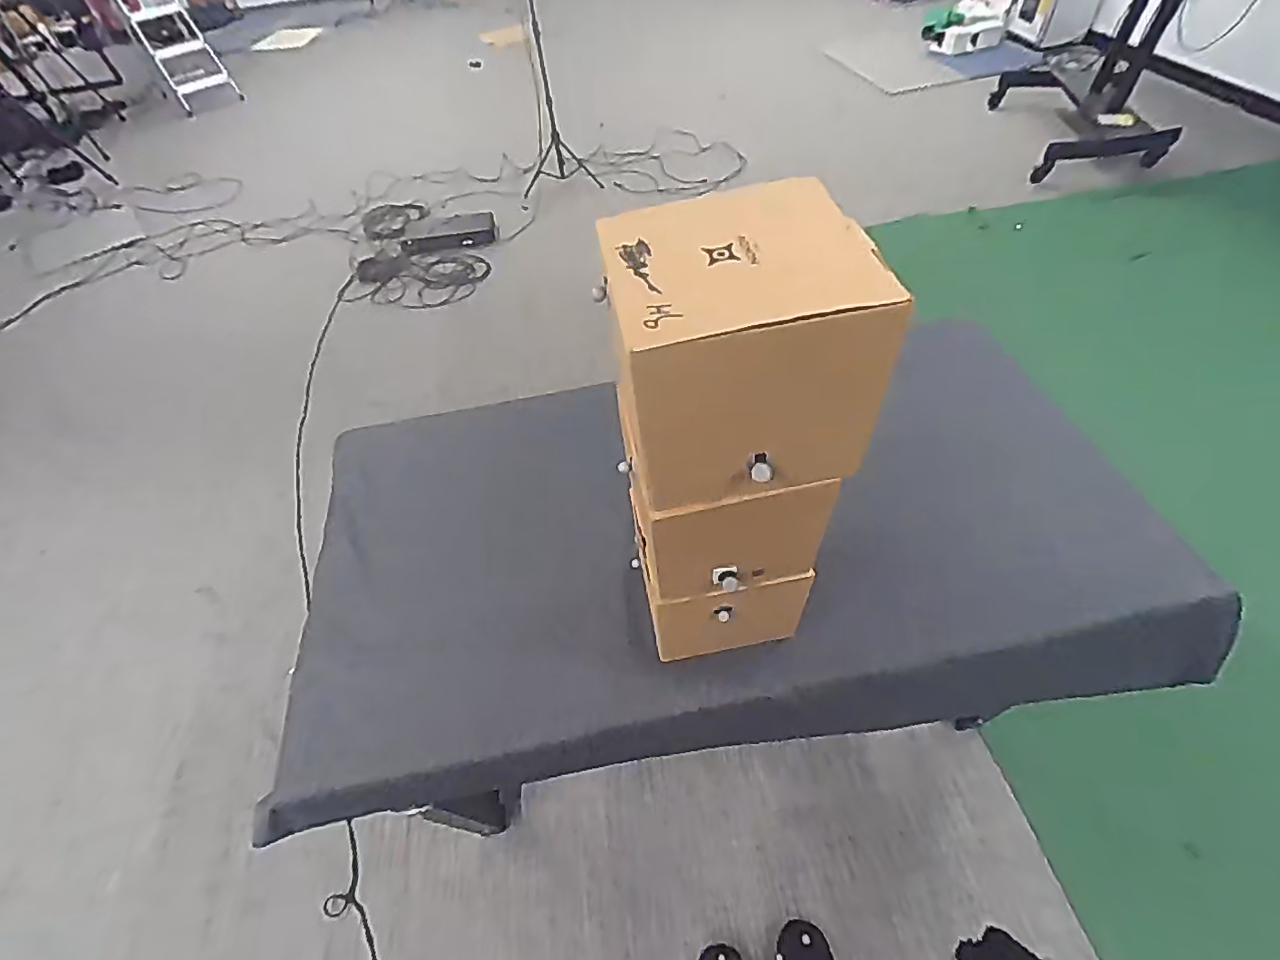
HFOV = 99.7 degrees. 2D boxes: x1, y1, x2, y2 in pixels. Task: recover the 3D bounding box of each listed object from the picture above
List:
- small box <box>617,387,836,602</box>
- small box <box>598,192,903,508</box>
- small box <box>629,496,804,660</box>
[{"bbox_3d":[0.077,0.001,0.564,0.168,0.176,0.179,-13,53,-3],"label":"small box"},{"bbox_3d":[0.070,-0.098,0.435,0.179,0.176,0.168,-10,51,-2],"label":"small box"},{"bbox_3d":[0.090,0.117,0.700,0.179,0.176,0.168,-10,53,-3],"label":"small box"}]
